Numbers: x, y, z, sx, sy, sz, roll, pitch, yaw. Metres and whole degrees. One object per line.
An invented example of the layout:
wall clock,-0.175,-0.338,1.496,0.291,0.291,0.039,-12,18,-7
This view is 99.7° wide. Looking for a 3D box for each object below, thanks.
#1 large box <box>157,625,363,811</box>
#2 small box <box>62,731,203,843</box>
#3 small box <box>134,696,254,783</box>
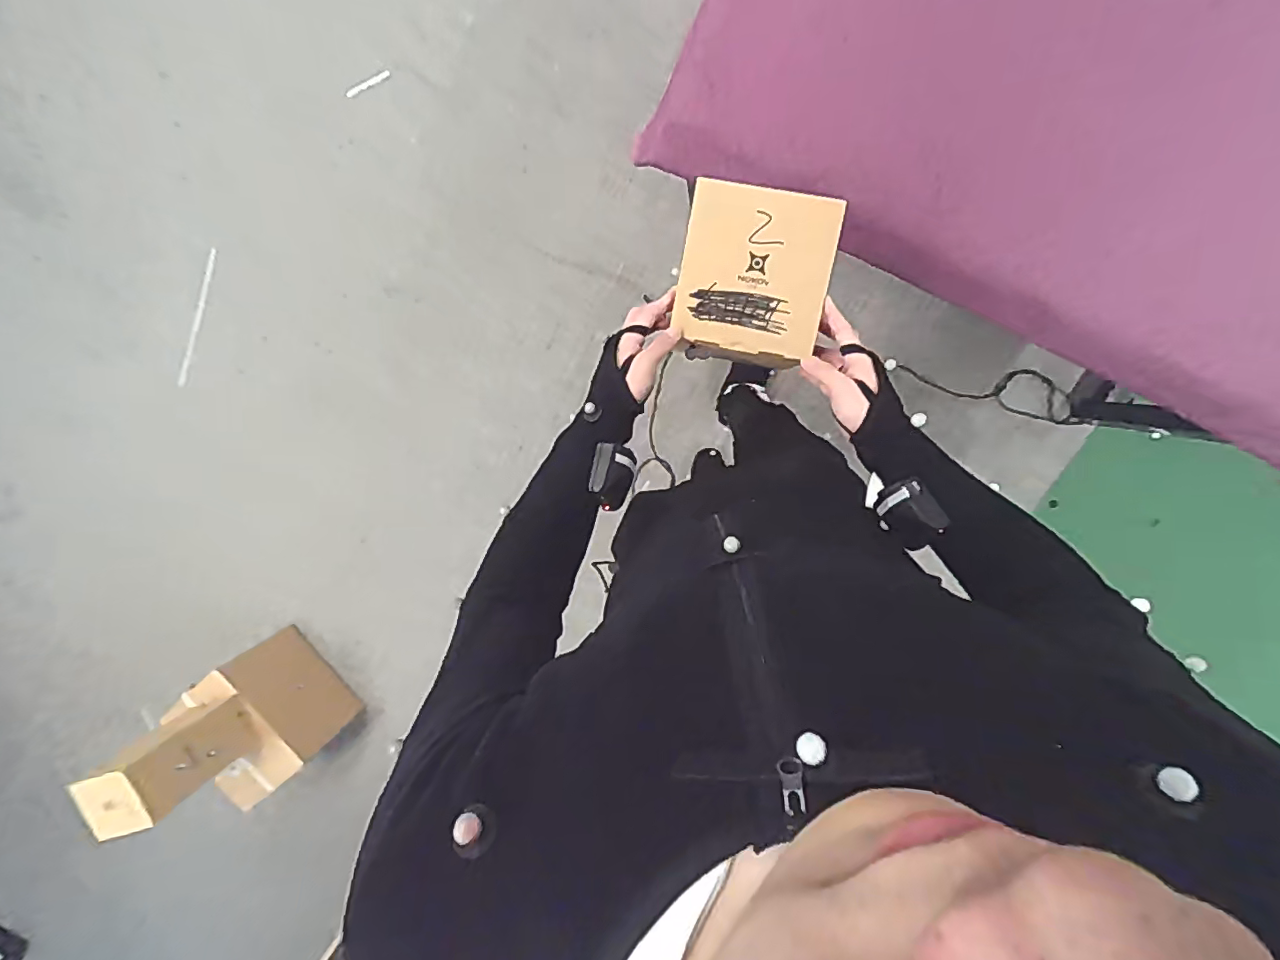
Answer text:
large box,-1.243,0.775,1.804,0.320,0.320,0.408,-39,95,13
small box,-1.292,0.781,1.389,0.179,0.176,0.168,-19,98,9
small box,-1.270,0.753,1.551,0.179,0.176,0.168,-19,98,10
